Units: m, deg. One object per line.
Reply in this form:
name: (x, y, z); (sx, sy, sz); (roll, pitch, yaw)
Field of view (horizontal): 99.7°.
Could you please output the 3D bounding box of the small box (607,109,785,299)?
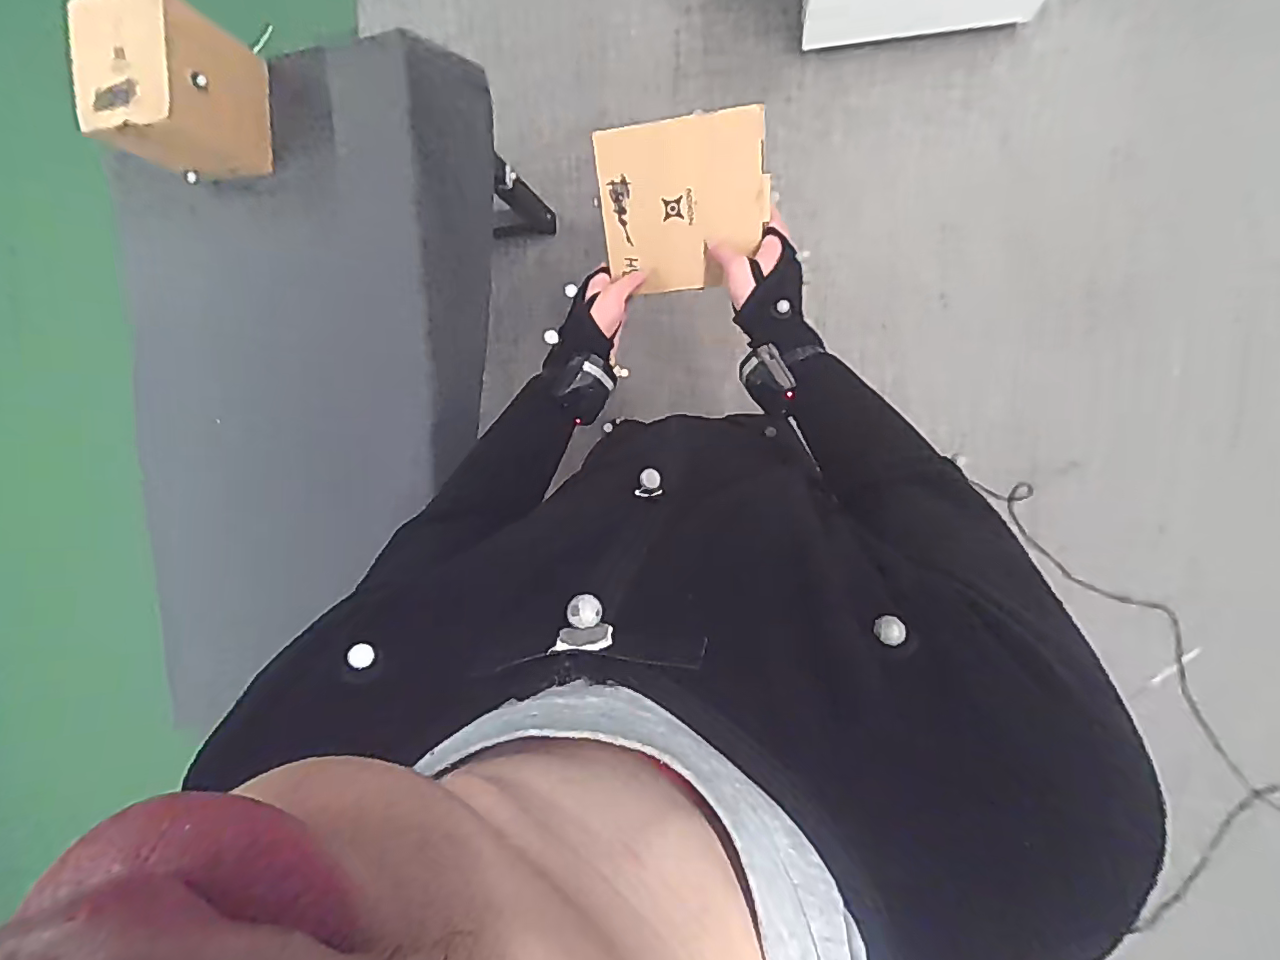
small box: (0.070, -0.313, 0.630); (0.179, 0.176, 0.168); (-2, 115, 10)
